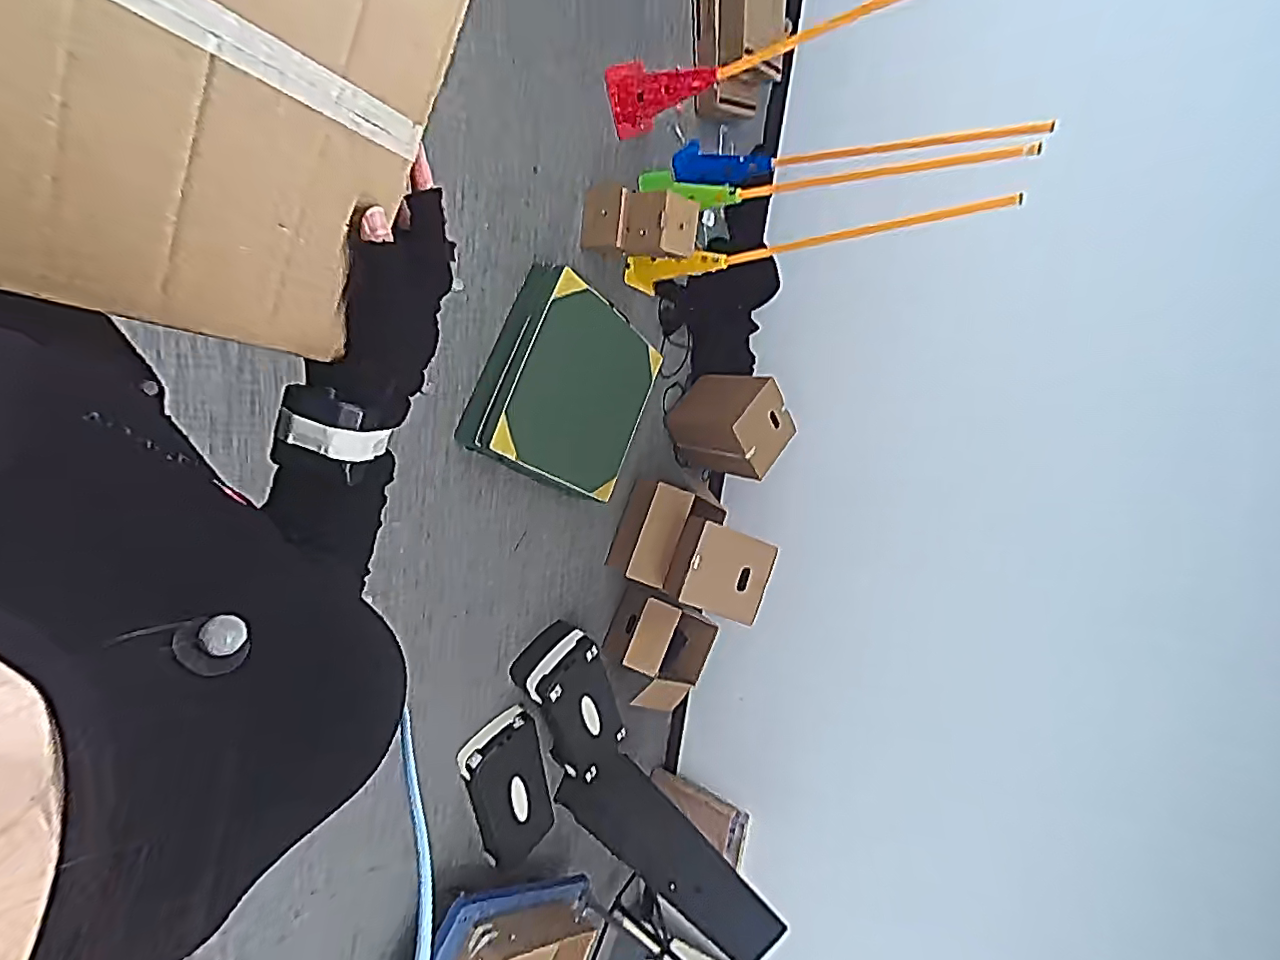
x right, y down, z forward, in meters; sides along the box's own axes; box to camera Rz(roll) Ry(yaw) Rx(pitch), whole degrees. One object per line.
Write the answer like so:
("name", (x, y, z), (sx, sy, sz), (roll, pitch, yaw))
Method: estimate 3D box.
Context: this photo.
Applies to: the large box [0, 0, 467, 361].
("large box", (-0.361, -0.308, 0.278), (0.408, 0.320, 0.320), (7, 122, -49))
